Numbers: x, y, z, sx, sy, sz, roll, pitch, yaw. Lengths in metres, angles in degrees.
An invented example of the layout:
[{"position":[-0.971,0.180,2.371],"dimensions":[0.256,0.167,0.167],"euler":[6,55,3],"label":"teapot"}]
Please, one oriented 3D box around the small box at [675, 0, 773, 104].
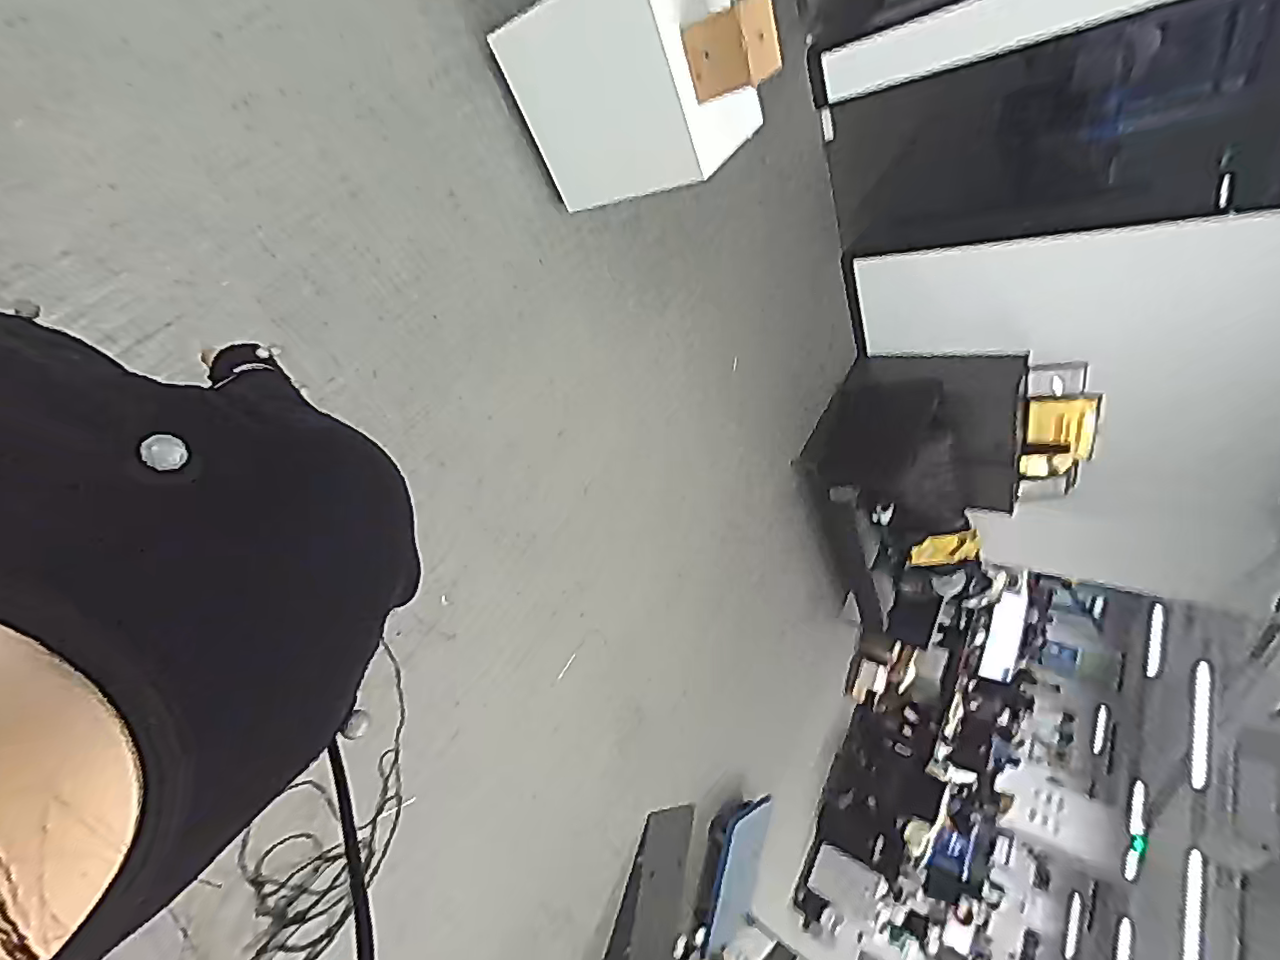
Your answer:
[{"position":[0.215,-1.097,1.378],"dimensions":[0.179,0.176,0.168],"euler":[-53,134,-31],"label":"small box"}]
